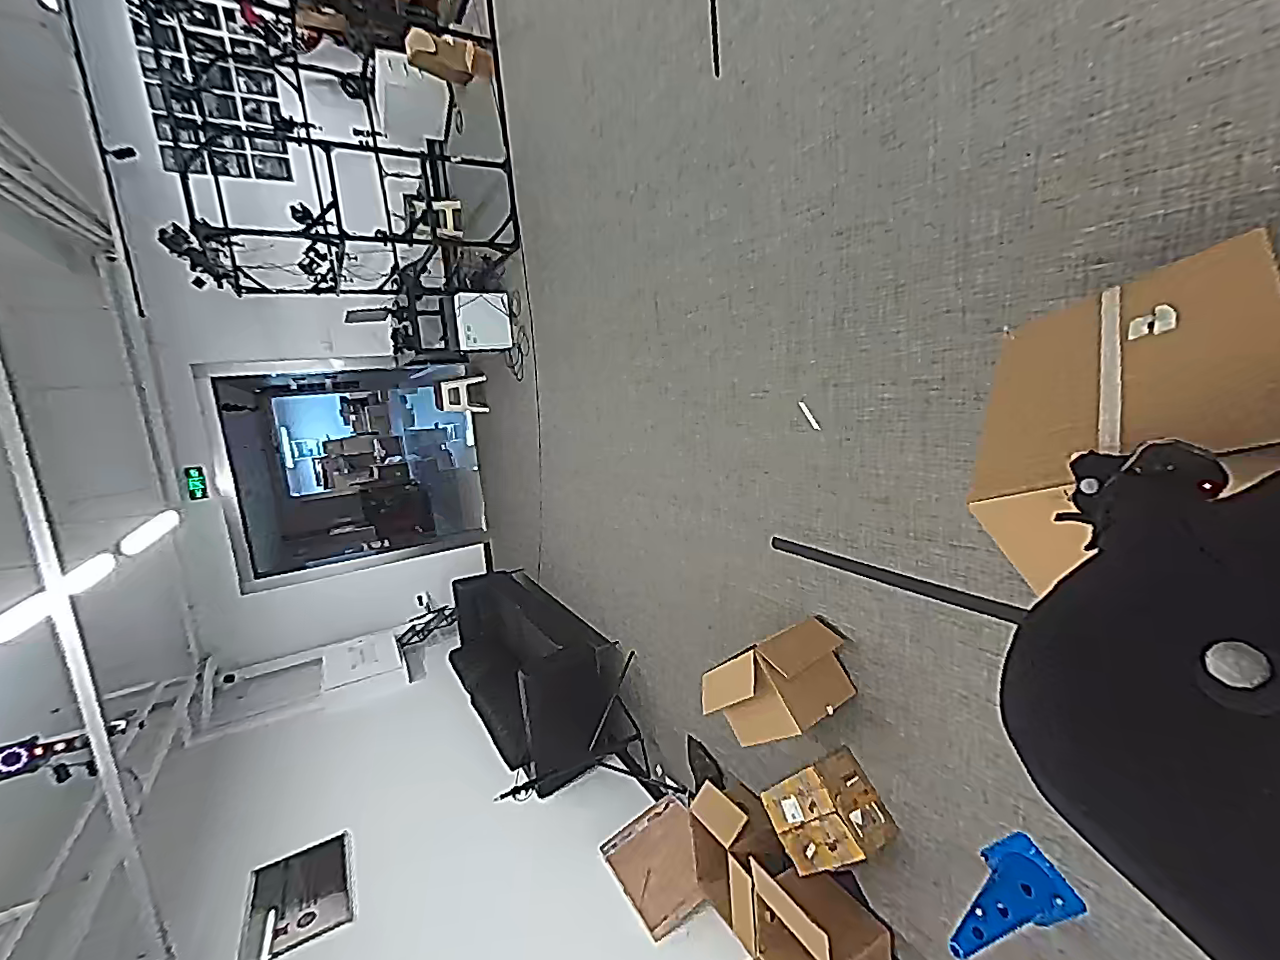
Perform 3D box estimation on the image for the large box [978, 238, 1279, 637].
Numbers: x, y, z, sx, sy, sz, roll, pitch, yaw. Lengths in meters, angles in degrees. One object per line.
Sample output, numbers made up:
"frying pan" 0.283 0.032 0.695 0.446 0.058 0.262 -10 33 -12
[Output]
"large box" 0.729 -0.040 0.747 0.320 0.408 0.320 46 146 -16
